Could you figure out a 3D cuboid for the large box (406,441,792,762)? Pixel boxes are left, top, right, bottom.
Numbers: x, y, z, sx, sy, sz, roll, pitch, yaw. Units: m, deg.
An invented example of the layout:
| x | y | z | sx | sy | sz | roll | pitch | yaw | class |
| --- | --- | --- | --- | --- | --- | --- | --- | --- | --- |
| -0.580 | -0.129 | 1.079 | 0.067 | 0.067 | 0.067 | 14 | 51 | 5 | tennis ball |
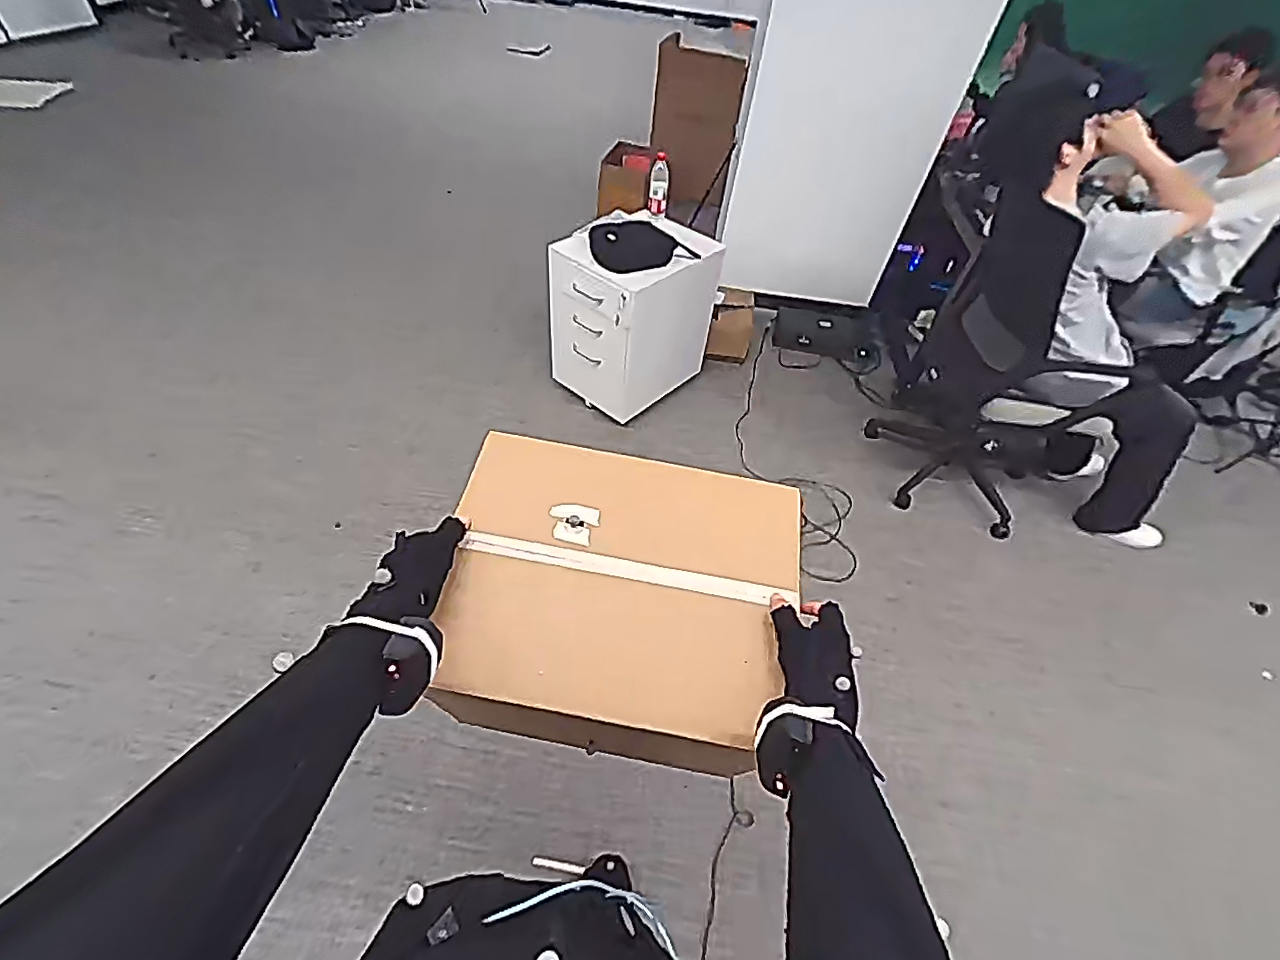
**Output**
| x | y | z | sx | sy | sz | roll | pitch | yaw | class |
| --- | --- | --- | --- | --- | --- | --- | --- | --- | --- |
| -0.030 | 0.184 | 0.750 | 0.408 | 0.320 | 0.320 | 10 | 57 | 2 | large box |
